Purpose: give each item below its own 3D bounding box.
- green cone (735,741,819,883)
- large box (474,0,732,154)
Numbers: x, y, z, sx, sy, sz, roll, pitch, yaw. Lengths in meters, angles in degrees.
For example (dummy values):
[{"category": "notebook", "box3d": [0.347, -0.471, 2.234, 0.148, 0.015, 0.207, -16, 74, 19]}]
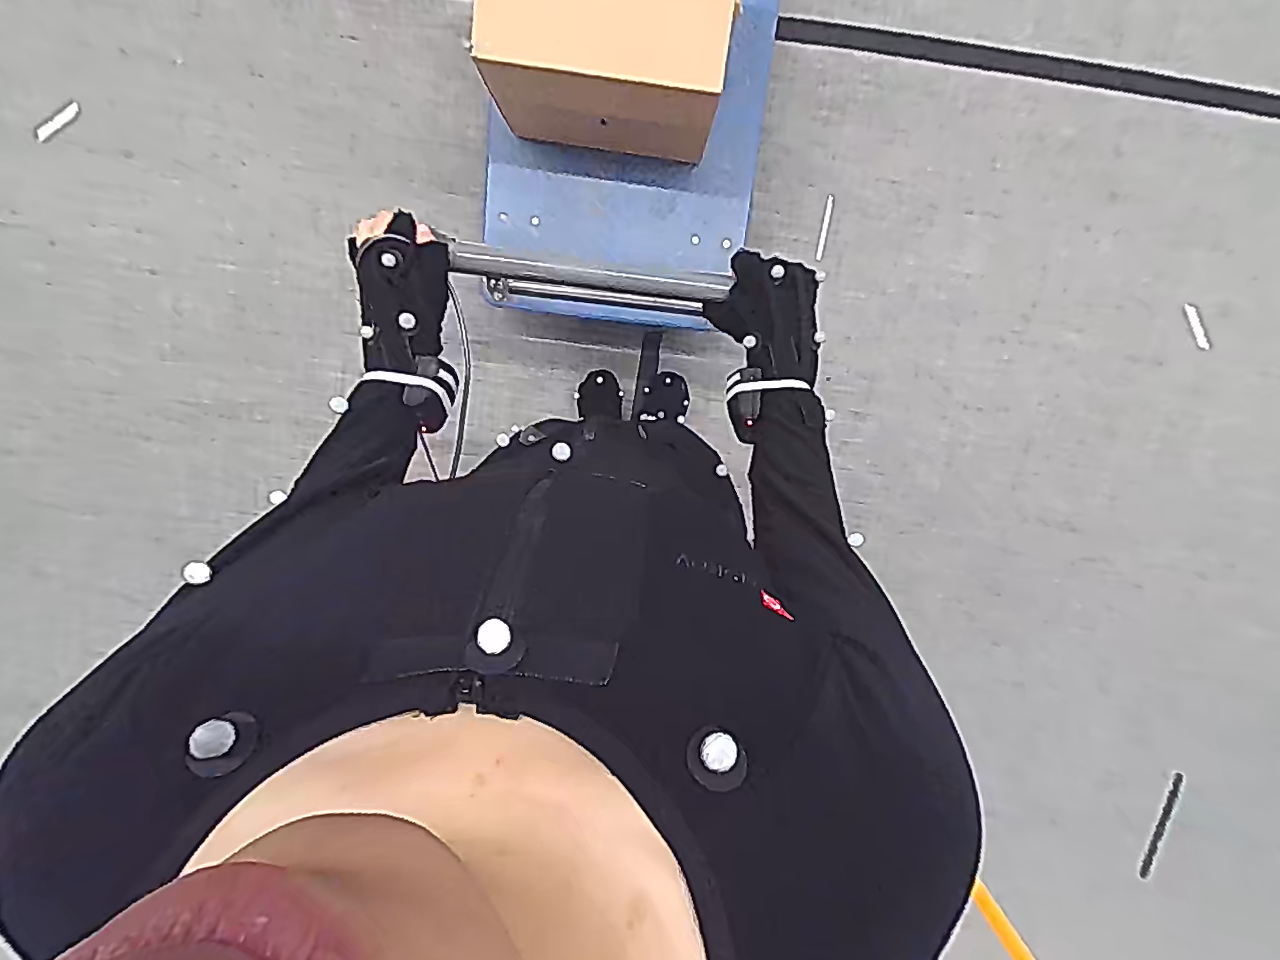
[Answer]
[{"category": "green cone", "box3d": [0.411, 0.941, 1.503, 0.202, 0.368, 0.200, 12, 102, -4]}, {"category": "large box", "box3d": [-0.049, -0.828, 0.976, 0.408, 0.320, 0.320, 7, 102, -1]}]
